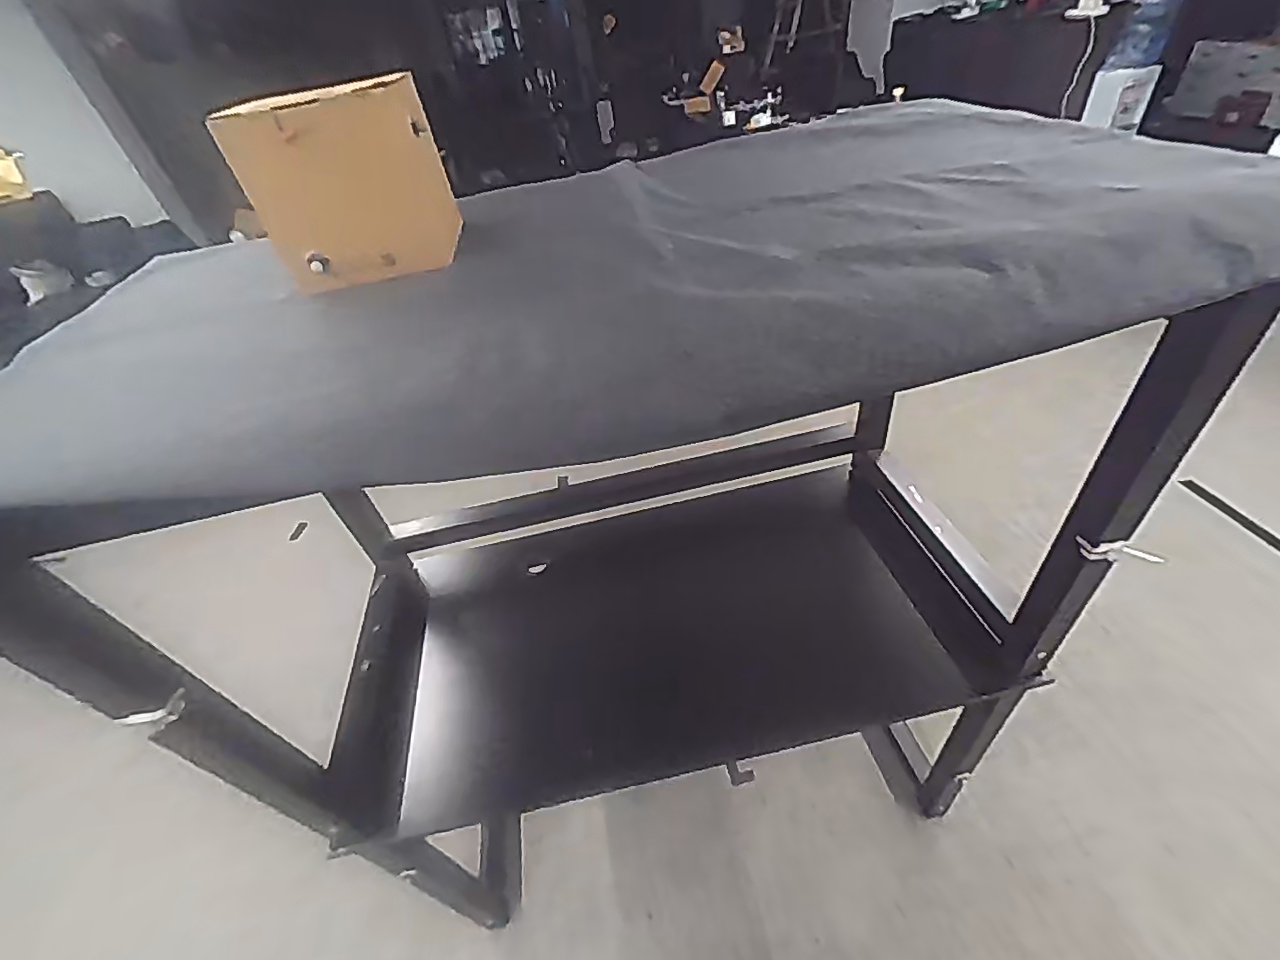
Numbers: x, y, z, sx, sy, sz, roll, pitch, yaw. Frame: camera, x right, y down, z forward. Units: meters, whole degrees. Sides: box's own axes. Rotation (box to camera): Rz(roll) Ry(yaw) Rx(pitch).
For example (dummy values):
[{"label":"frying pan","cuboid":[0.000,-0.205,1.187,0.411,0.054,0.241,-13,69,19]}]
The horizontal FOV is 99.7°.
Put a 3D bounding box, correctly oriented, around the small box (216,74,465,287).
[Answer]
[{"label":"small box","cuboid":[-0.309,-0.332,0.609,0.168,0.176,0.179,-13,40,-2]}]
